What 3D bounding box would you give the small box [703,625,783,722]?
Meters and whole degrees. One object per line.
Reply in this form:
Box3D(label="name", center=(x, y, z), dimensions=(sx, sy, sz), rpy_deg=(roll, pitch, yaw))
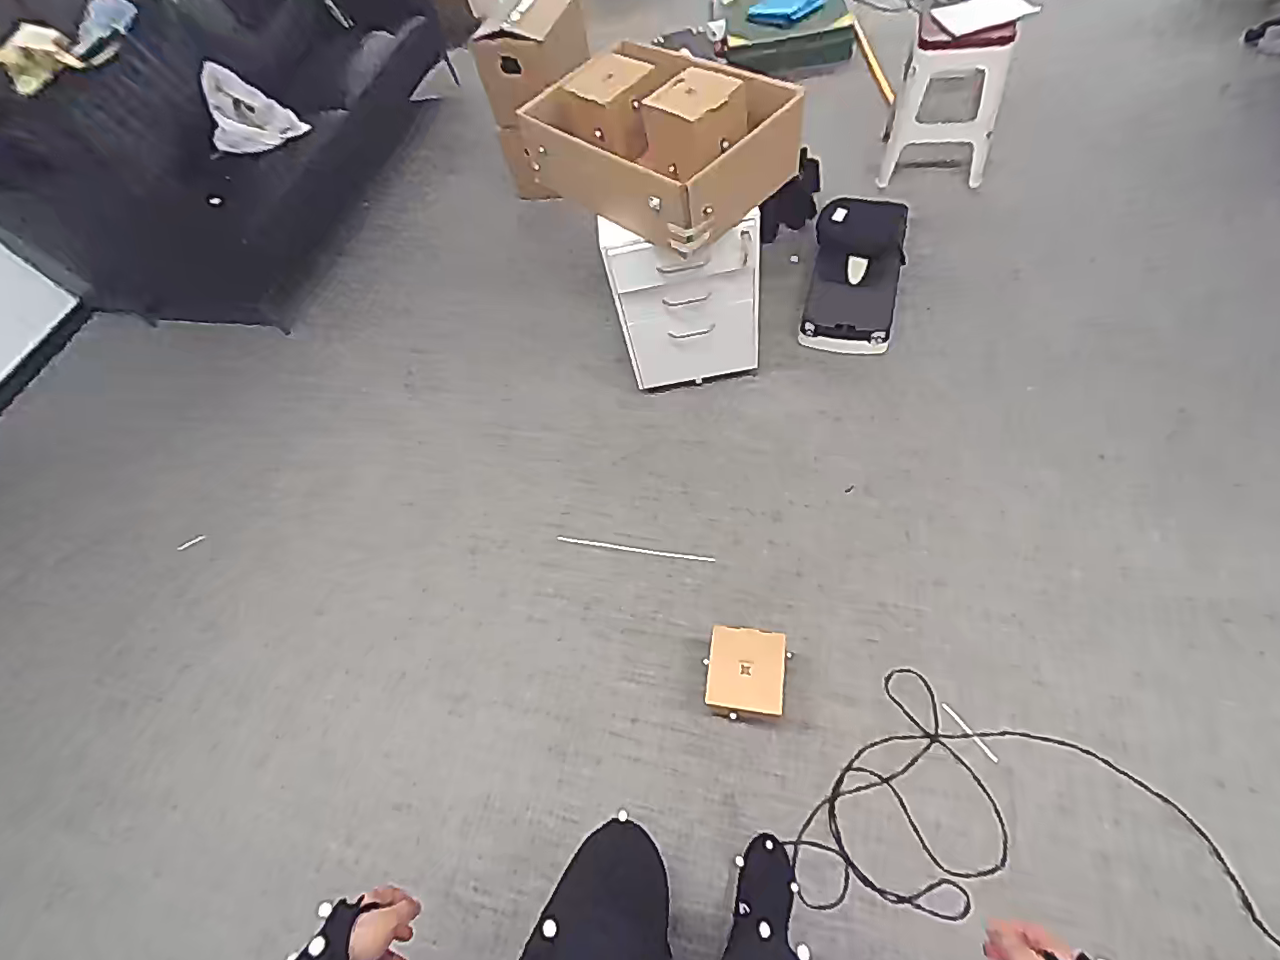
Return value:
Box3D(label="small box", center=(0.247, 0.460, 1.273), dimensions=(0.168, 0.176, 0.179), rpy_deg=(3, 60, 14))
